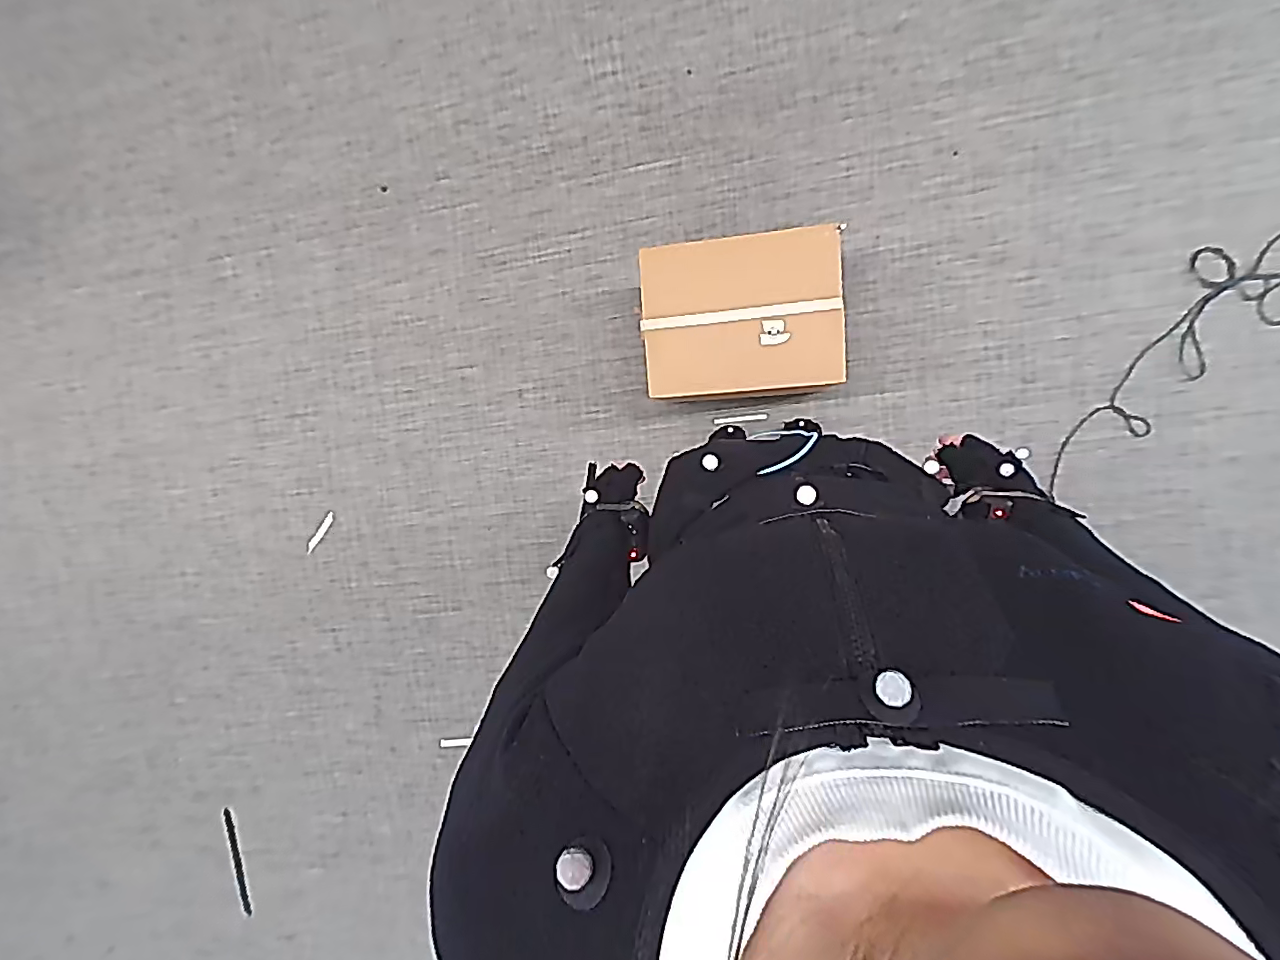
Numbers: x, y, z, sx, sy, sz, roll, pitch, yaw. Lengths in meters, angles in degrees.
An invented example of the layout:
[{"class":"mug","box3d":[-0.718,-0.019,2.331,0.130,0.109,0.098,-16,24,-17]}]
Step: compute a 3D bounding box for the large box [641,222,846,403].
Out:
[{"class":"large box","box3d":[0.232,-0.358,1.258,0.408,0.320,0.320,-4,96,10]}]
